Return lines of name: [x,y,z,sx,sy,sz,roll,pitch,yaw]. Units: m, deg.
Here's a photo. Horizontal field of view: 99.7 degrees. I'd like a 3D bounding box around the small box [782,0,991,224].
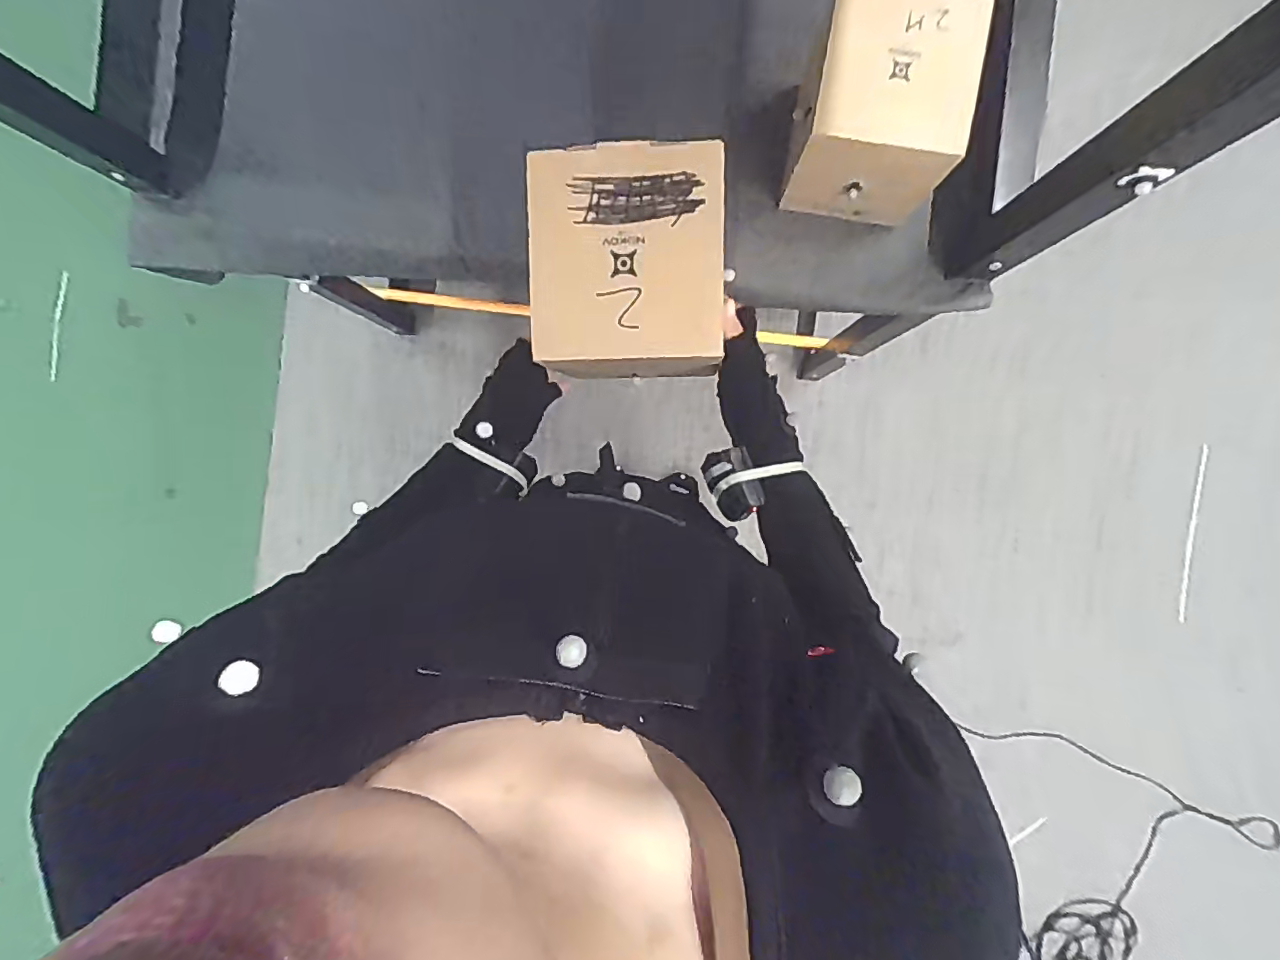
small box: [0.282,-0.441,0.659,0.168,0.176,0.179,10,91,1]
